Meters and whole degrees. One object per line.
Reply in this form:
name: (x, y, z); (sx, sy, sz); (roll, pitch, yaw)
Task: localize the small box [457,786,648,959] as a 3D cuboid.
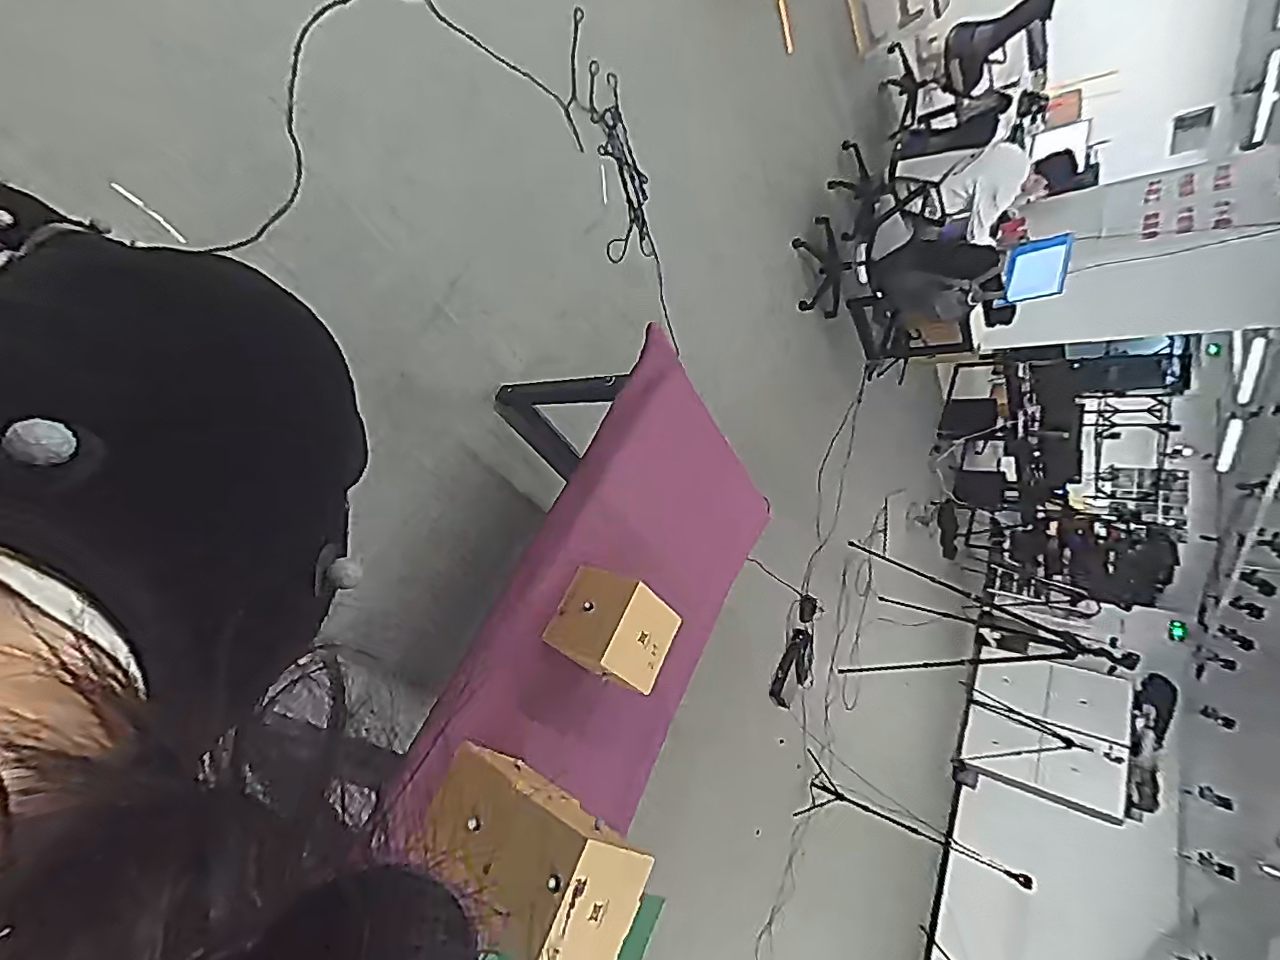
small box: (-0.124, 0.578, 0.790); (0.179, 0.176, 0.168); (49, 58, -39)

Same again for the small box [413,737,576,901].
small box: (-0.246, 0.564, 0.899); (0.168, 0.176, 0.179); (47, 59, -39)

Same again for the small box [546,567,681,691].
small box: (-0.054, 0.288, 1.077); (0.179, 0.176, 0.168); (50, 59, -40)
